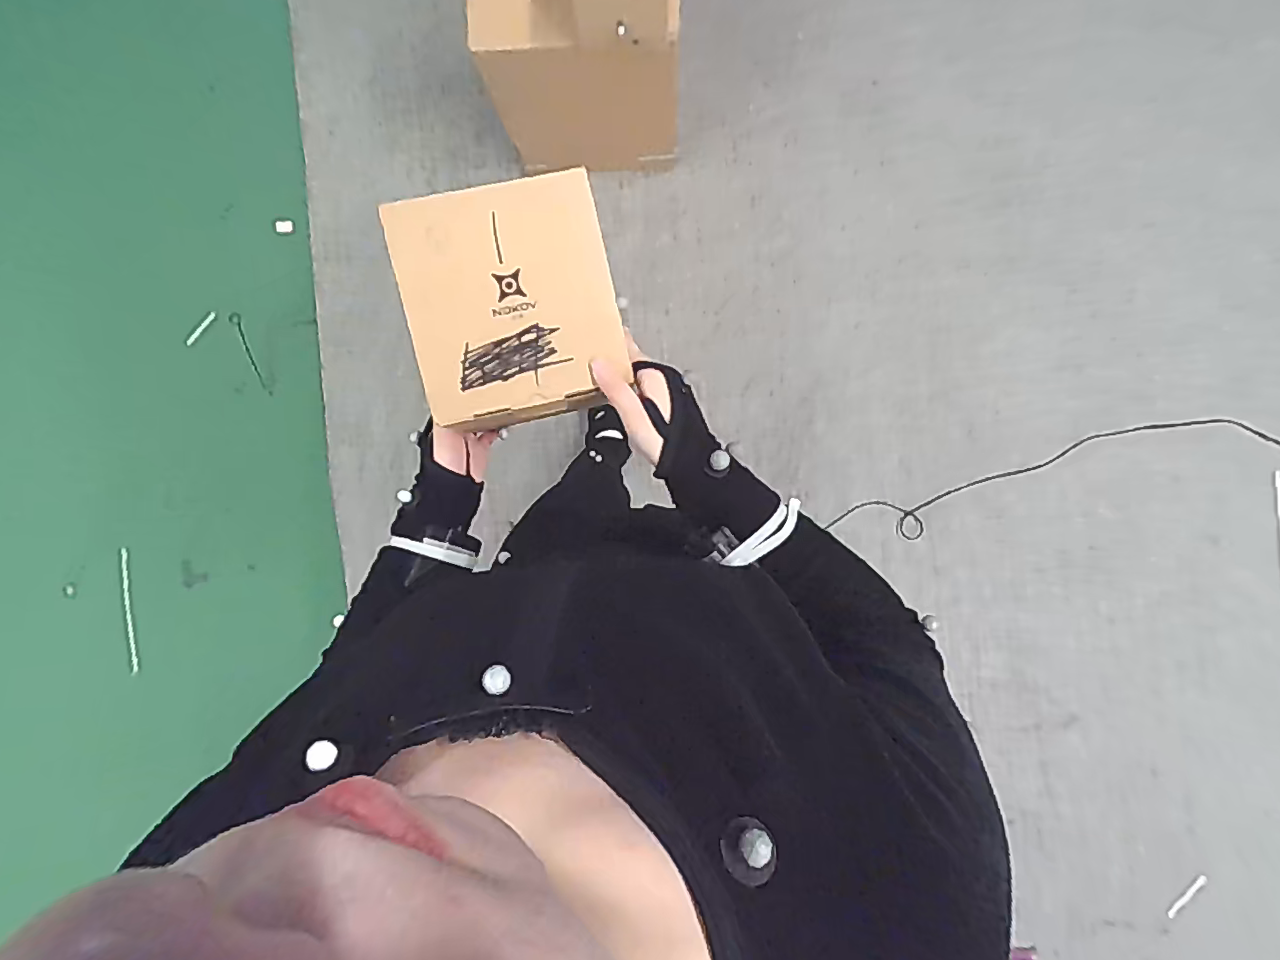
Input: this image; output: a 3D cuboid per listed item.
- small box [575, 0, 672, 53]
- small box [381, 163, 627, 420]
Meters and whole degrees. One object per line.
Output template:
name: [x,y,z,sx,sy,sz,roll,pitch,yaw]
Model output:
small box: [-0.027,-0.887,0.929,0.168,0.176,0.179,2,90,3]
small box: [-0.112,-0.156,0.510,0.168,0.176,0.179,-13,93,-5]
